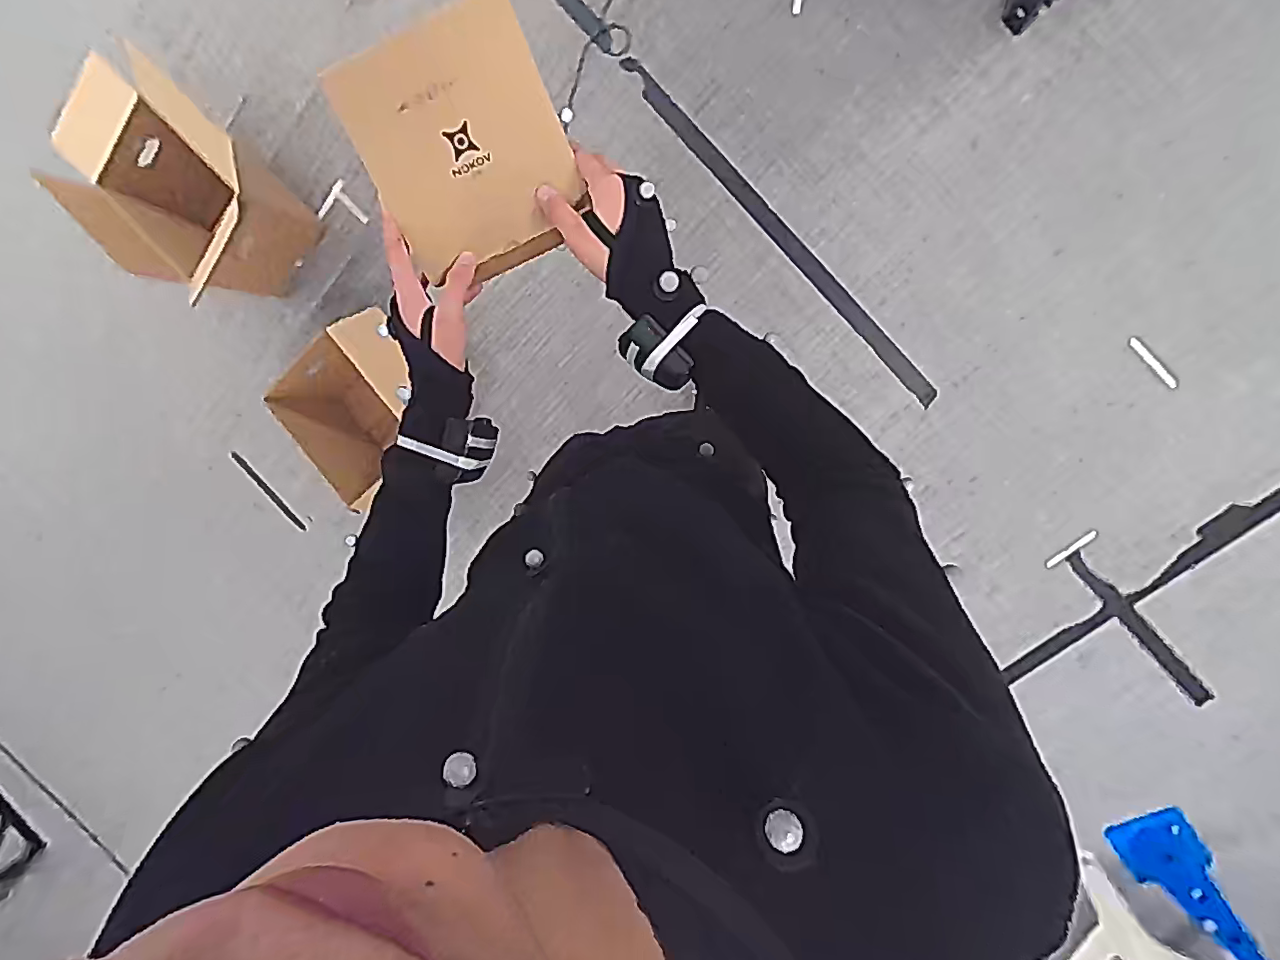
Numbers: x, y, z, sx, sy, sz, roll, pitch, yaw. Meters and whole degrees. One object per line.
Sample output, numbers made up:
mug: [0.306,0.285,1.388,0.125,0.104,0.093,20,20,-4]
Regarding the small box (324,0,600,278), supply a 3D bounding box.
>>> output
small box: [-0.143,-0.314,0.514,0.168,0.176,0.179,-22,113,5]
